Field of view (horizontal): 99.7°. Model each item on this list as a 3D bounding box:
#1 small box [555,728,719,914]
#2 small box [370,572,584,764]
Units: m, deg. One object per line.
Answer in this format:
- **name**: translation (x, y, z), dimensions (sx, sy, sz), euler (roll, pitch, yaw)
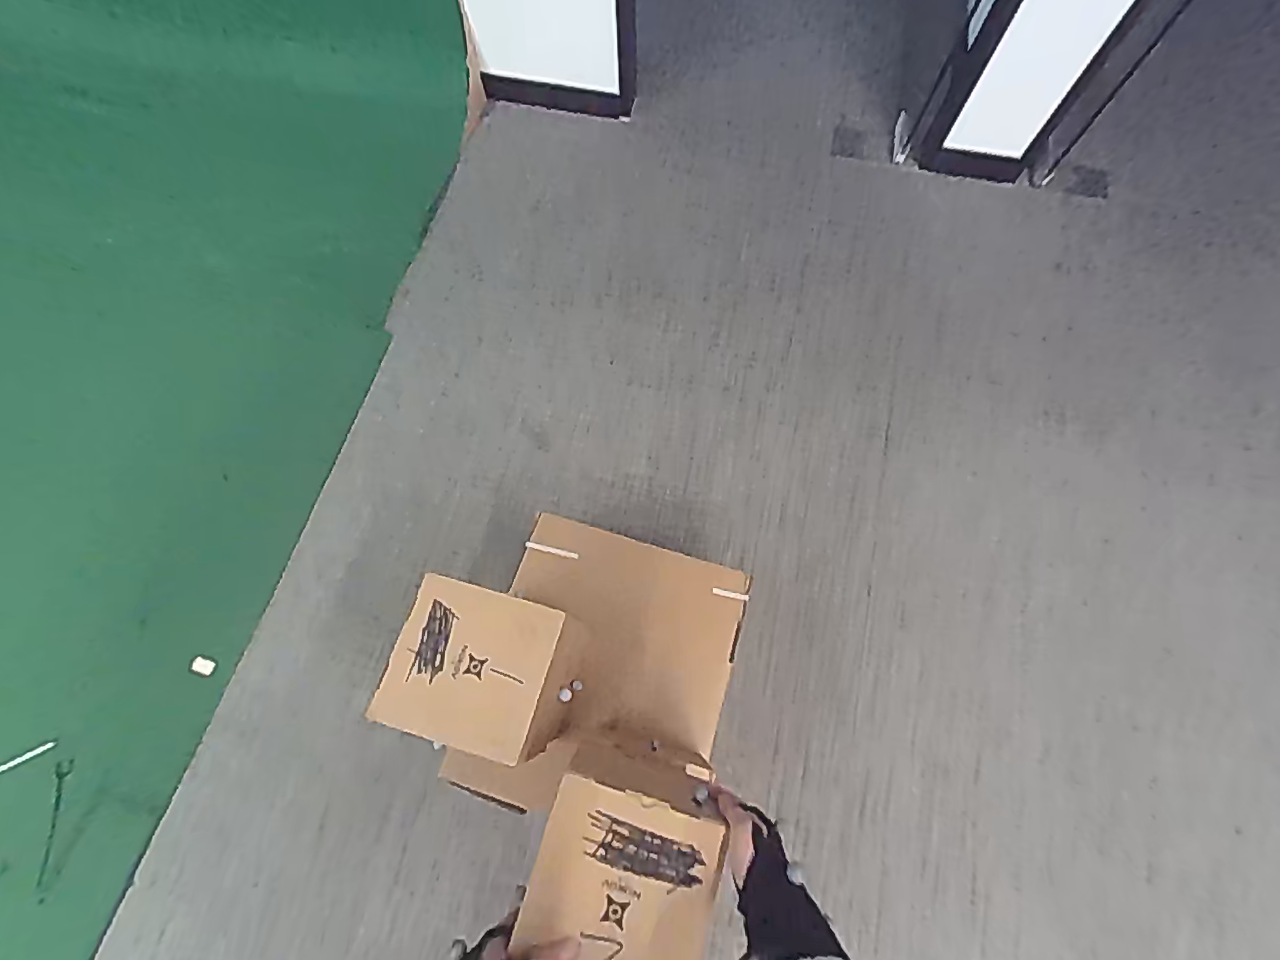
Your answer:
- **small box**: translation (-0.001, 0.456, 0.756), dimensions (0.179, 0.176, 0.168), euler (13, 69, 5)
- **small box**: translation (-0.181, 0.229, 0.664), dimensions (0.179, 0.176, 0.168), euler (14, 70, 7)
